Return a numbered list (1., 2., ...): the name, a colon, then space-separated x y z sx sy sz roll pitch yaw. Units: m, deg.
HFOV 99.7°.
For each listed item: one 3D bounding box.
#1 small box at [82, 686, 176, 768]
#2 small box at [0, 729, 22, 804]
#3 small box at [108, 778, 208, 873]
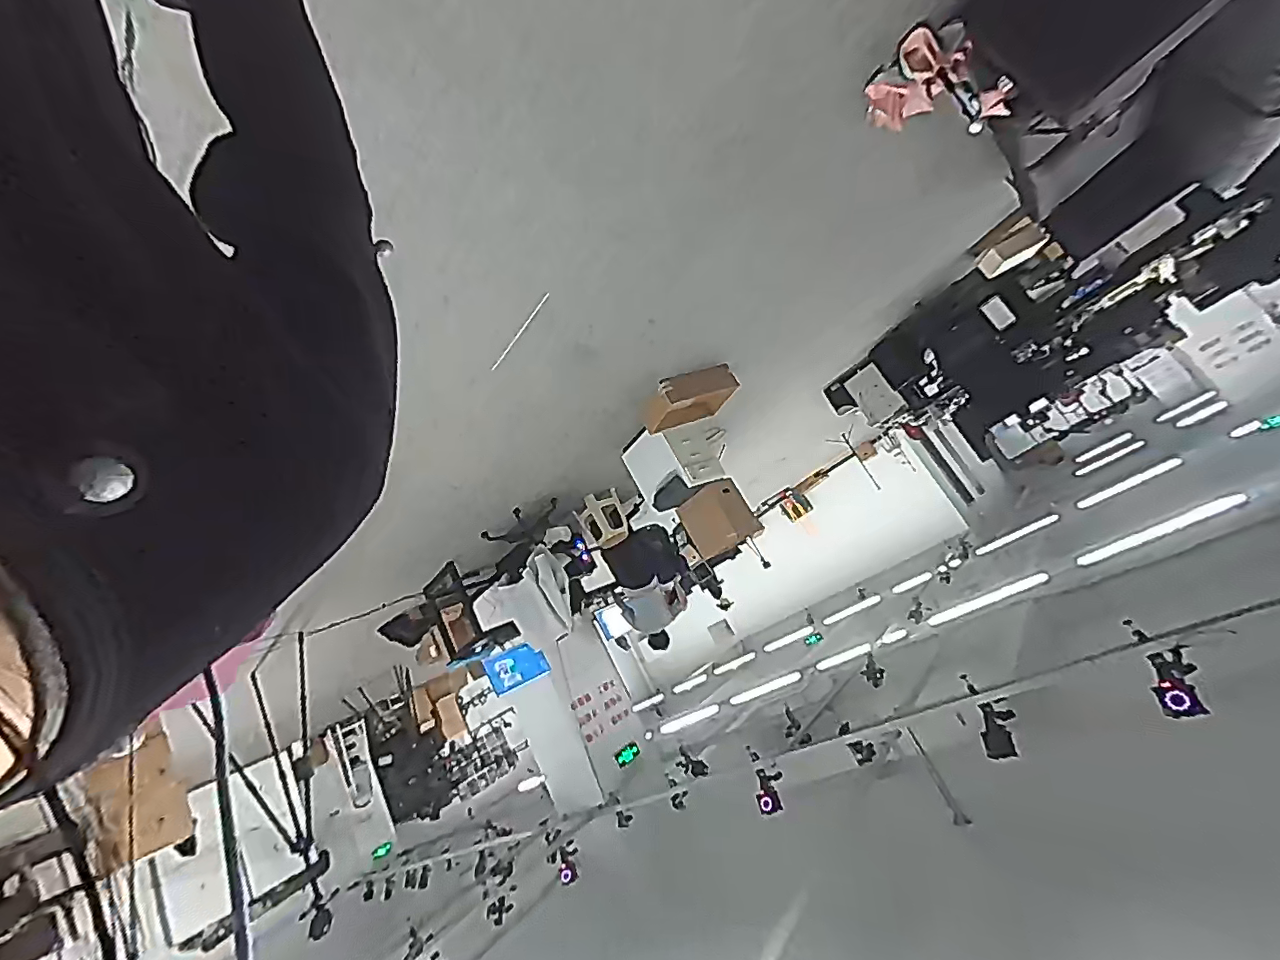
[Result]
1. small box: -1.690 0.808 1.787 0.168 0.176 0.179 -36 163 24
2. small box: -1.884 0.836 1.517 0.168 0.176 0.179 -38 163 33
3. small box: -1.537 1.092 1.721 0.168 0.176 0.179 -33 165 17
